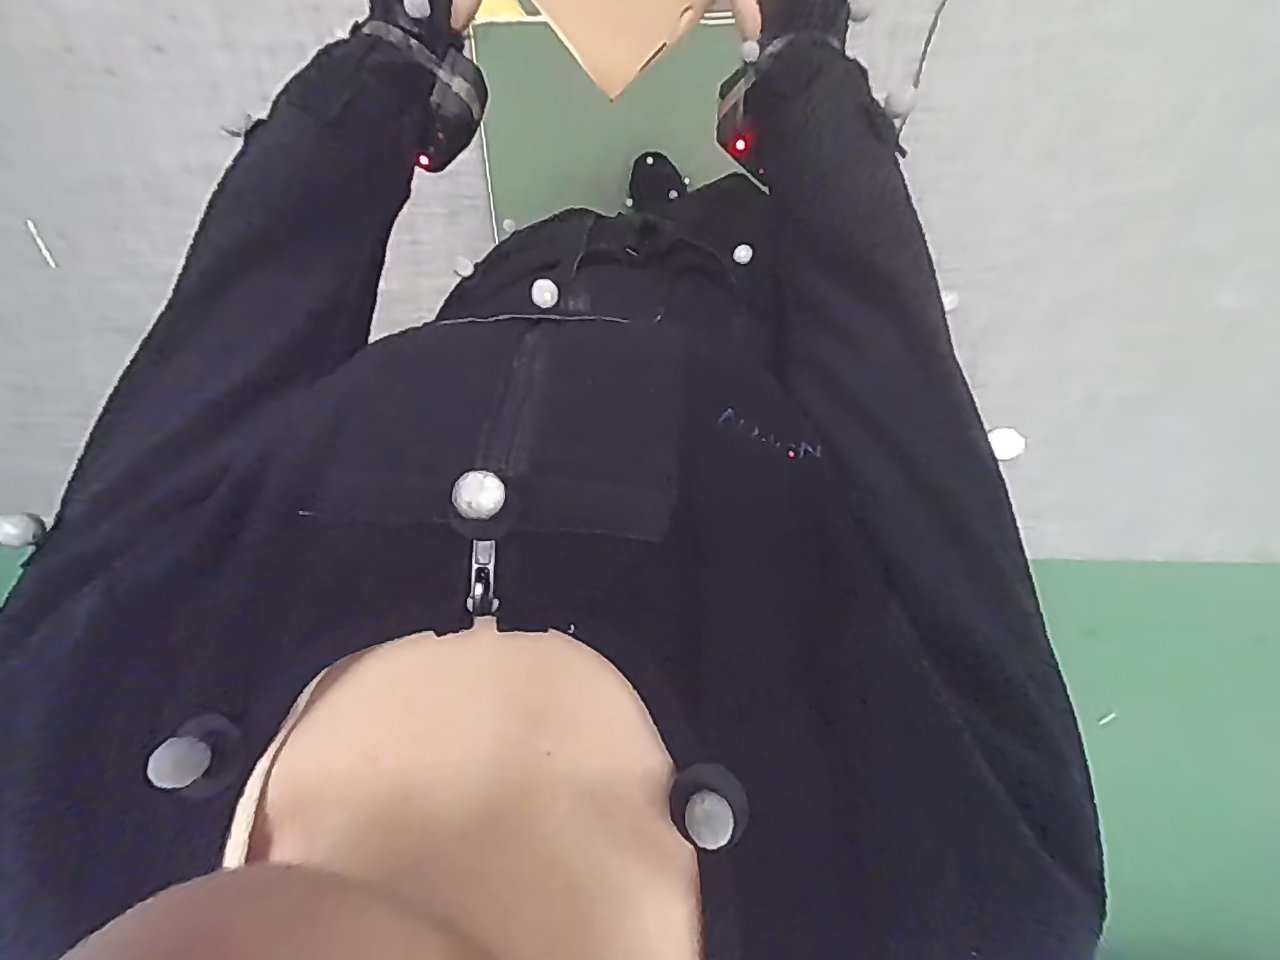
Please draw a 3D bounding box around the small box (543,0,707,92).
[{"bbox_3d":[-0.013,-0.458,0.413,0.168,0.176,0.179,-29,130,31],"label":"small box"}]
